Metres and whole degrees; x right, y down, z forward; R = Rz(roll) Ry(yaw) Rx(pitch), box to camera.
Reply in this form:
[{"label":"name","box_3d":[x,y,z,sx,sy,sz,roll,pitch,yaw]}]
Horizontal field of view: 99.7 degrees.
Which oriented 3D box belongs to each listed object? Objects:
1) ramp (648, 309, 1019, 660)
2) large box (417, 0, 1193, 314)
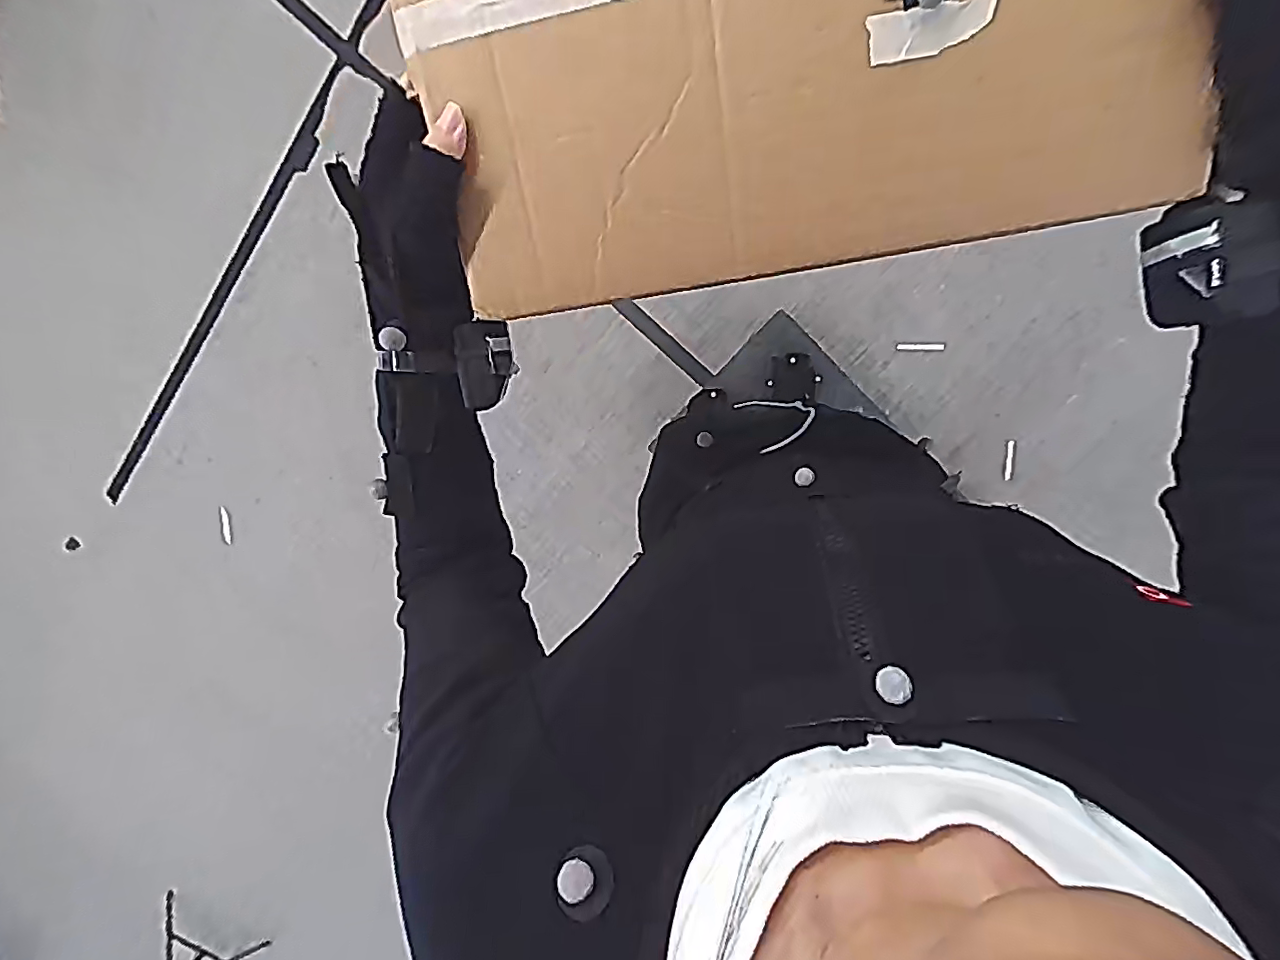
[{"label":"ramp","box_3d":[0.546,0.058,1.486,0.991,0.206,0.509,42,103,-1]},{"label":"large box","box_3d":[0.084,-0.327,0.419,0.408,0.320,0.320,-7,110,9]}]
